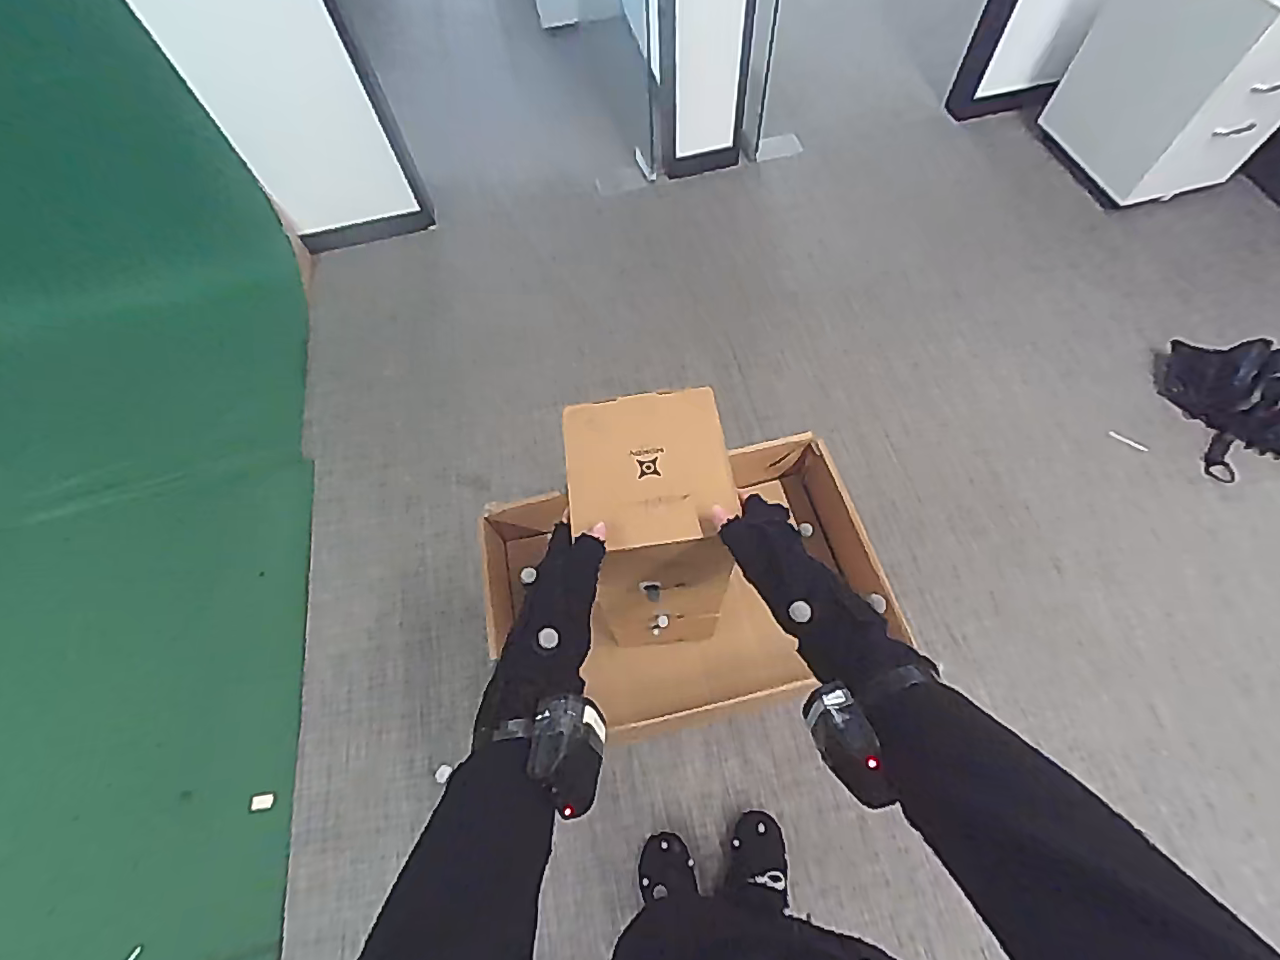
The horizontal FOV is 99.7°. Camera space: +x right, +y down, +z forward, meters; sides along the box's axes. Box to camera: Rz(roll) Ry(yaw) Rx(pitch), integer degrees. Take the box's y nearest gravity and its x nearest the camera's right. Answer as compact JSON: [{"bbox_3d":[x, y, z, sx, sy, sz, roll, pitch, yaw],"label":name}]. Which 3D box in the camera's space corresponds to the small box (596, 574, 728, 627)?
[{"bbox_3d":[0.020,0.095,0.765,0.168,0.176,0.179,-8,63,-1],"label":"small box"}]

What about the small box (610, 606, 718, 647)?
[{"bbox_3d":[0.033,0.170,0.911,0.168,0.176,0.179,-6,62,1],"label":"small box"}]

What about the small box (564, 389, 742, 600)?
[{"bbox_3d":[0.011,0.023,0.621,0.168,0.176,0.179,-8,63,-1],"label":"small box"}]
